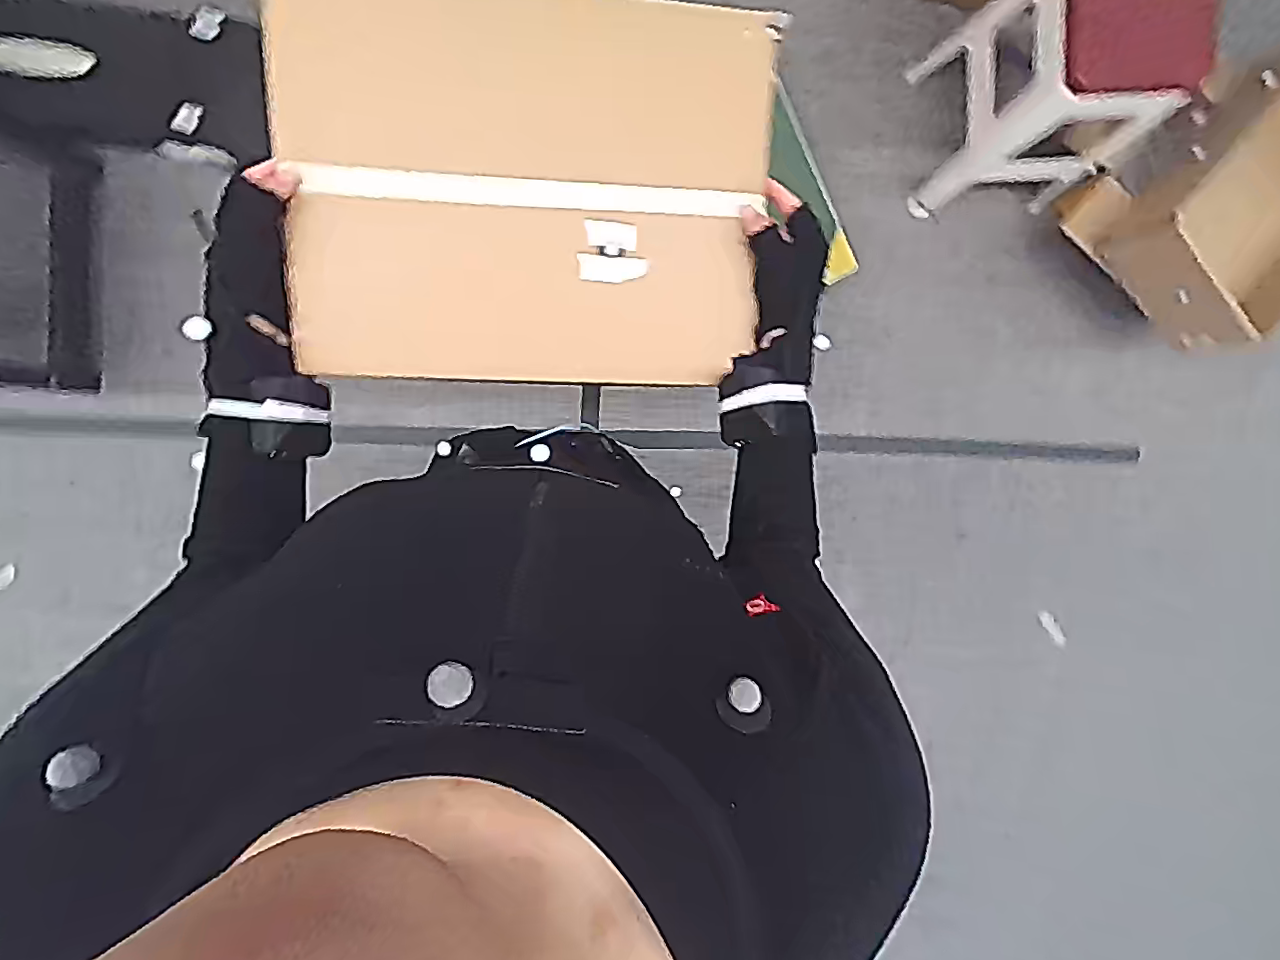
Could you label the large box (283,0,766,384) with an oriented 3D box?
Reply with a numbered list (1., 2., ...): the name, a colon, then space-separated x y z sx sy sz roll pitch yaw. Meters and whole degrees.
1. large box: -0.109 -0.270 0.619 0.408 0.320 0.320 0 101 -9
